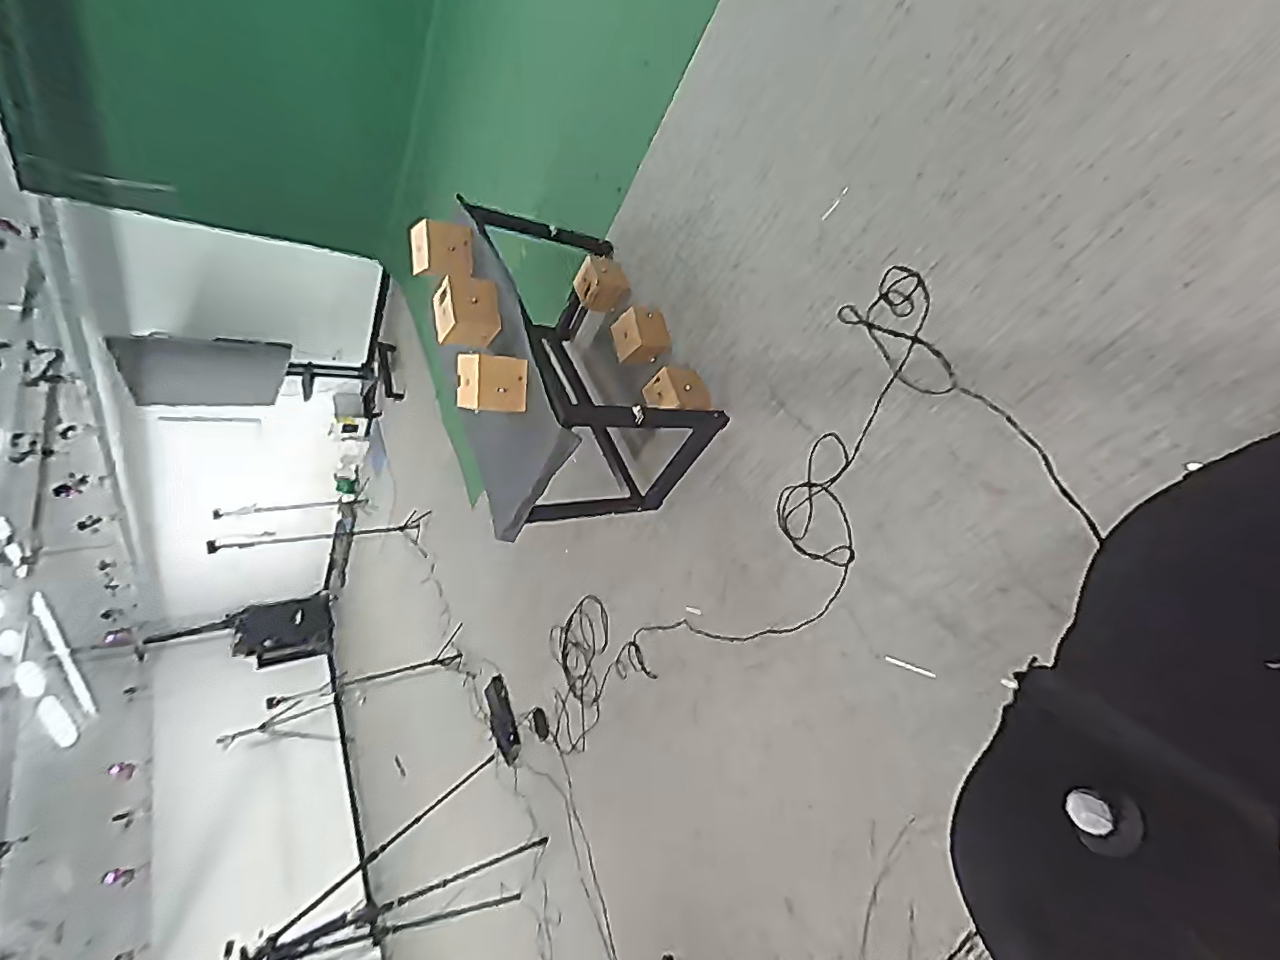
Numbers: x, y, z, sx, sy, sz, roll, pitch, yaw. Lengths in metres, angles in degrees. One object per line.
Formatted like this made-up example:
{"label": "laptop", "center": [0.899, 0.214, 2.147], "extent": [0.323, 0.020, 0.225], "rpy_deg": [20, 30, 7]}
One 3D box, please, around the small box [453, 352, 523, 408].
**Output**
{"label": "small box", "center": [-0.486, -0.320, 1.730], "extent": [0.179, 0.176, 0.168], "rpy_deg": [15, 104, 50]}

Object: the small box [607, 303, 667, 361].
{"label": "small box", "center": [-0.011, -0.616, 2.277], "extent": [0.168, 0.176, 0.179], "rpy_deg": [-28, 73, 49]}

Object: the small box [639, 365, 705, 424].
{"label": "small box", "center": [0.128, -0.335, 2.129], "extent": [0.168, 0.176, 0.179], "rpy_deg": [-39, 64, 45]}

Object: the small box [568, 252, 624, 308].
{"label": "small box", "center": [-0.200, -0.911, 2.484], "extent": [0.168, 0.176, 0.179], "rpy_deg": [-46, 57, 42]}

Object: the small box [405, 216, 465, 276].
{"label": "small box", "center": [-0.760, -0.867, 2.015], "extent": [0.179, 0.176, 0.168], "rpy_deg": [13, 105, 50]}
